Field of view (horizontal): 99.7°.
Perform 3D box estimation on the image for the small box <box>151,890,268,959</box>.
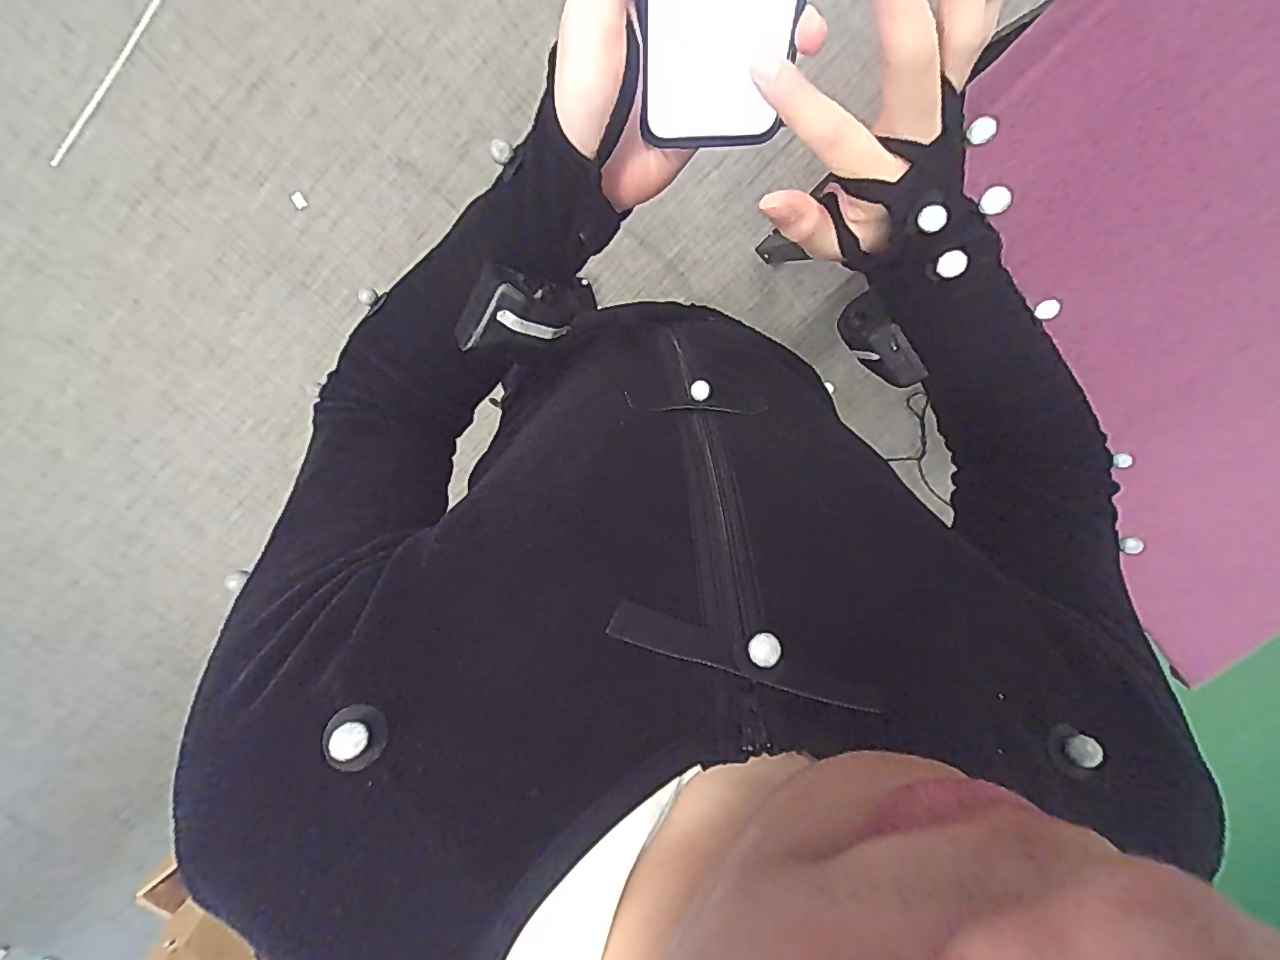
[{"bbox_3d":[-1.043,1.136,1.296,0.179,0.176,0.168,-36,107,9],"label":"small box"}]
